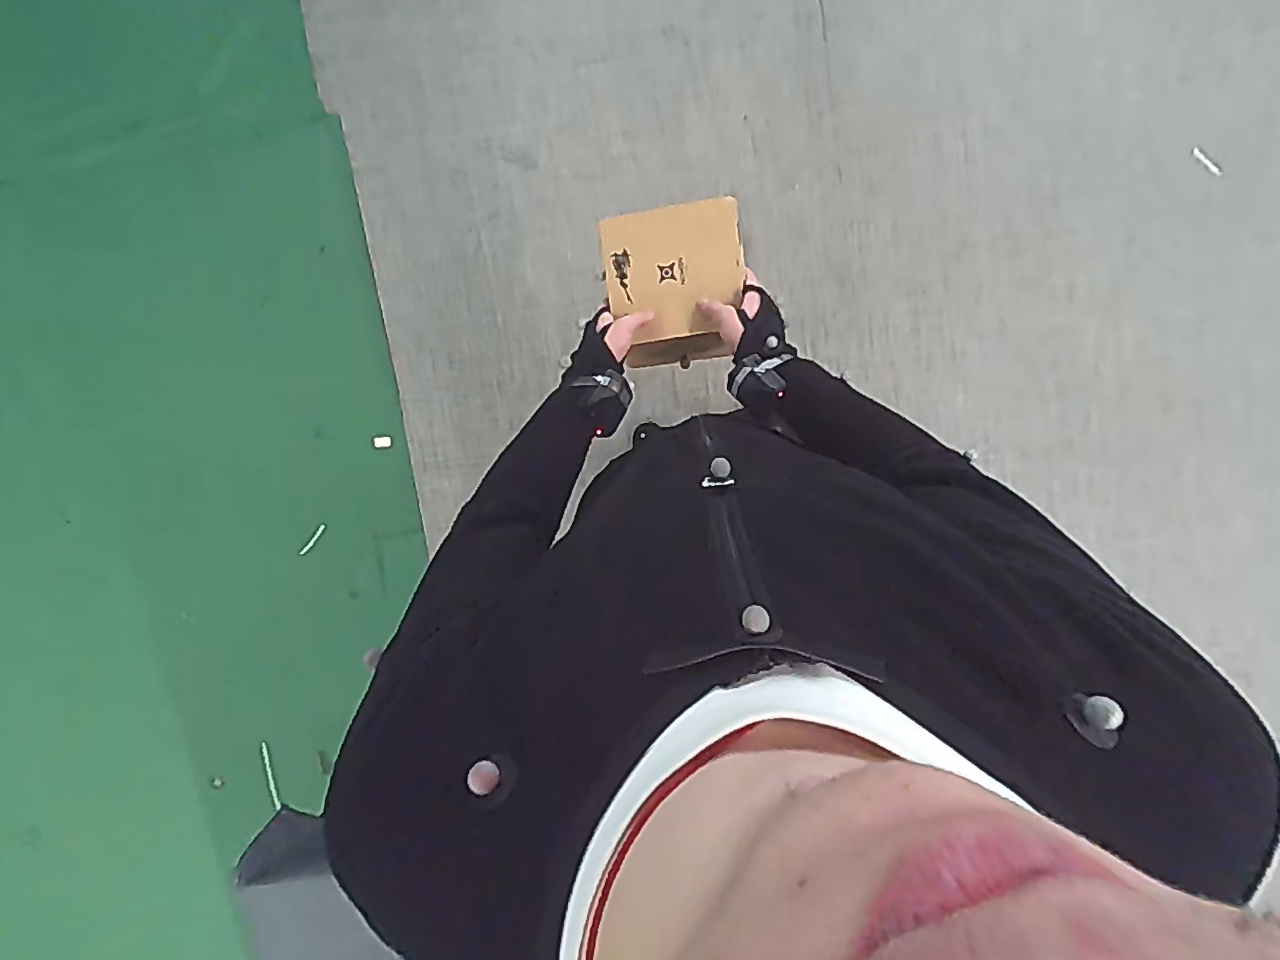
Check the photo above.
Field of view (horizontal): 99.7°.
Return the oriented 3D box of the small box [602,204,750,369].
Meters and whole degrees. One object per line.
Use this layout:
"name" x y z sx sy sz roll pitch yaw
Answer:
"small box" 0.051 -0.259 0.764 0.179 0.176 0.168 -6 91 6
